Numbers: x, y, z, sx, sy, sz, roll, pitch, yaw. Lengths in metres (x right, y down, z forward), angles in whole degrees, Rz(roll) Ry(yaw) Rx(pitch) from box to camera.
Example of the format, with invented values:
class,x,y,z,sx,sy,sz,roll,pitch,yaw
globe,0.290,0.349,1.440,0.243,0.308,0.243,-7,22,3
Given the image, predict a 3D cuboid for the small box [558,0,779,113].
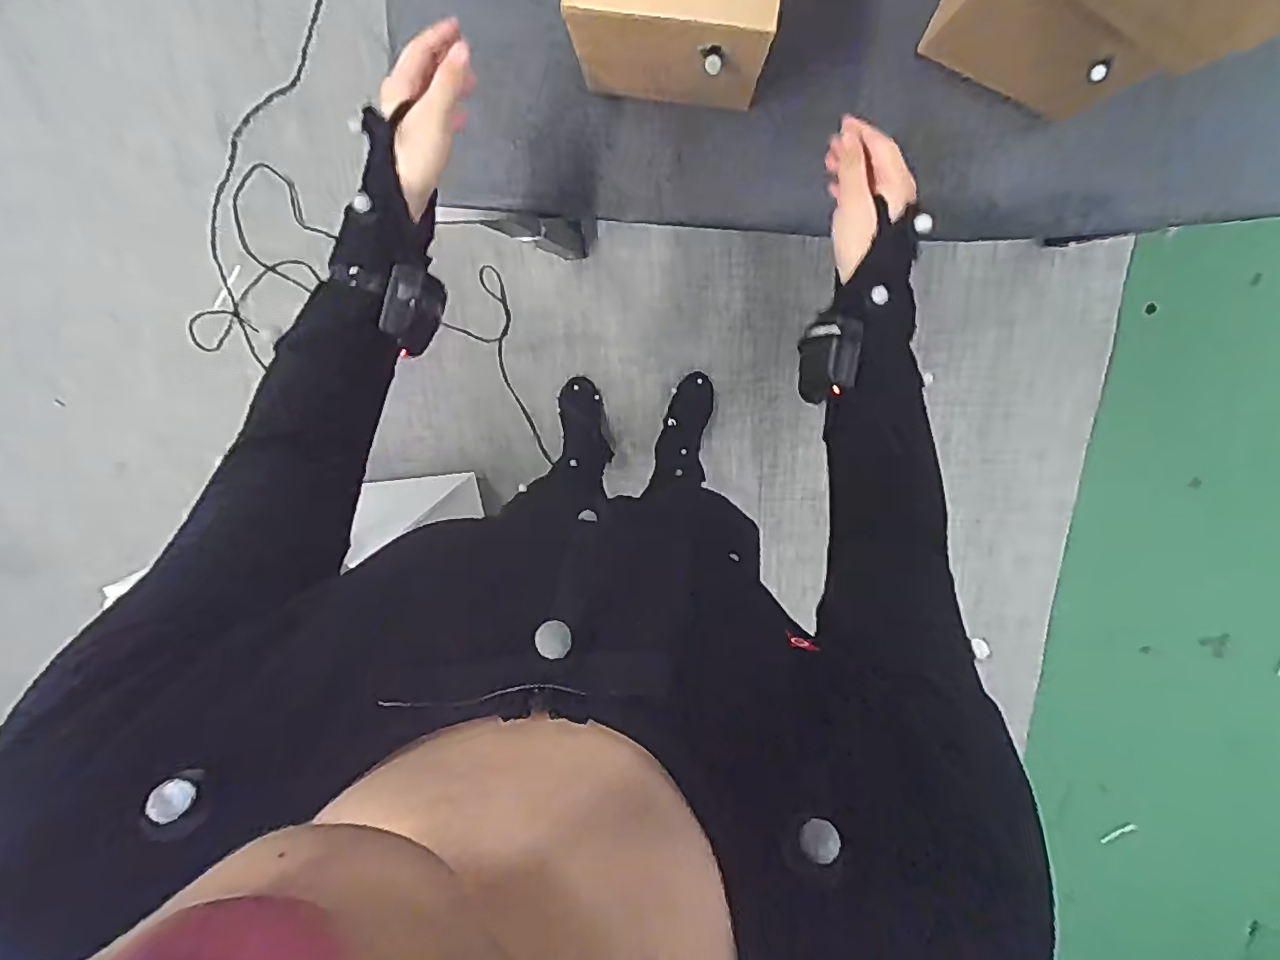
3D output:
class,x,y,z,sx,sy,sz,roll,pitch,yaw
small box,0.034,-0.459,0.488,0.179,0.176,0.168,8,106,1
